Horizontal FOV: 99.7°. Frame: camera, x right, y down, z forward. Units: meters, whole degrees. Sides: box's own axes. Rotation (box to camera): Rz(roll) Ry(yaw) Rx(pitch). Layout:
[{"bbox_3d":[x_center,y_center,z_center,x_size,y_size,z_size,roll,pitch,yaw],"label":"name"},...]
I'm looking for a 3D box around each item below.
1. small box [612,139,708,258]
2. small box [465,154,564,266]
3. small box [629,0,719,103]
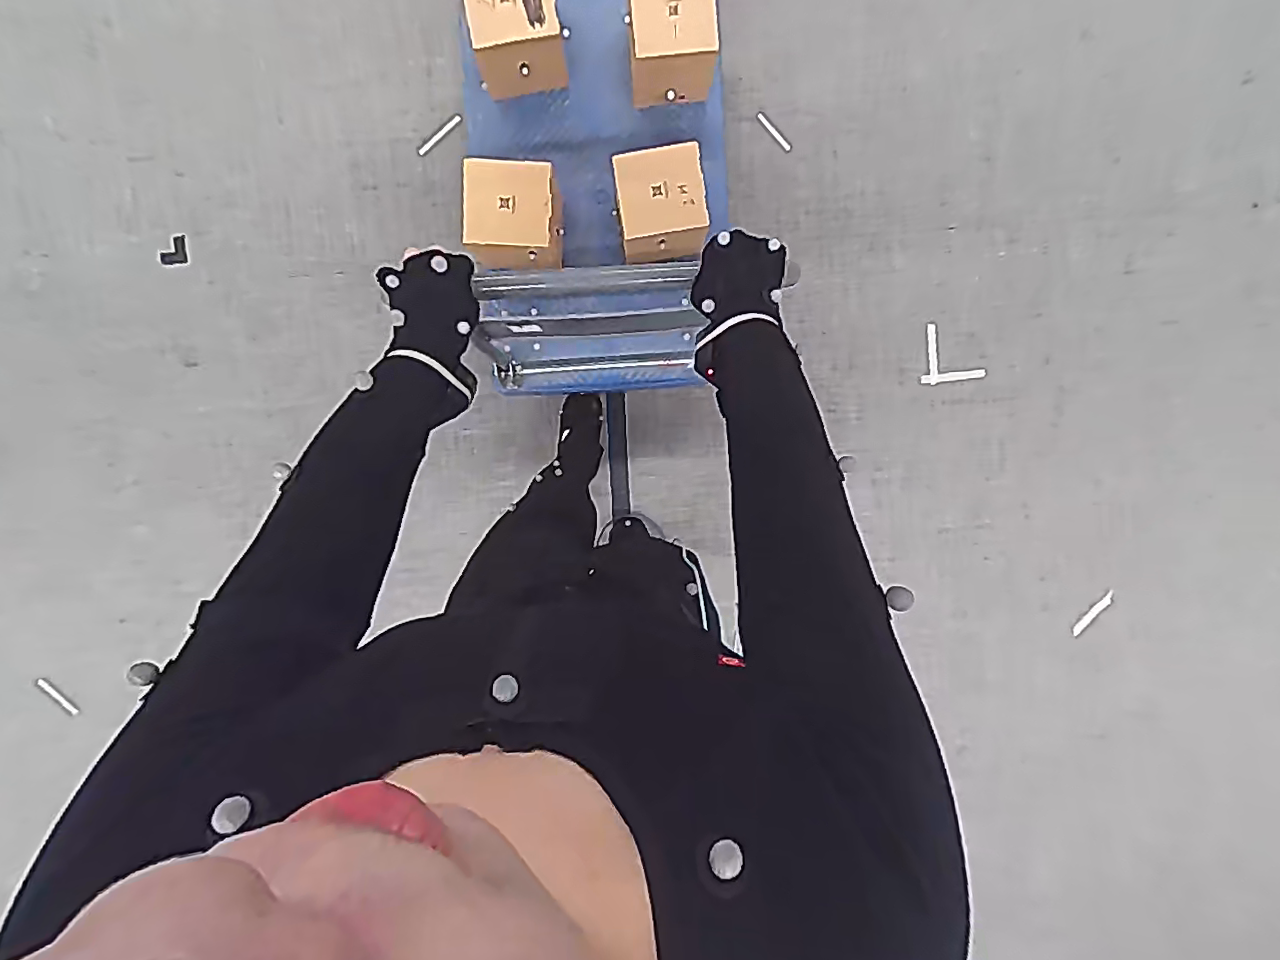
[{"bbox_3d":[0.043,-0.591,1.158,0.179,0.176,0.168,-9,96,1],"label":"small box"},{"bbox_3d":[-0.264,-0.569,1.160,0.179,0.176,0.168,2,96,-2],"label":"small box"},{"bbox_3d":[0.065,-0.931,1.125,0.168,0.176,0.179,-6,97,0],"label":"small box"}]
